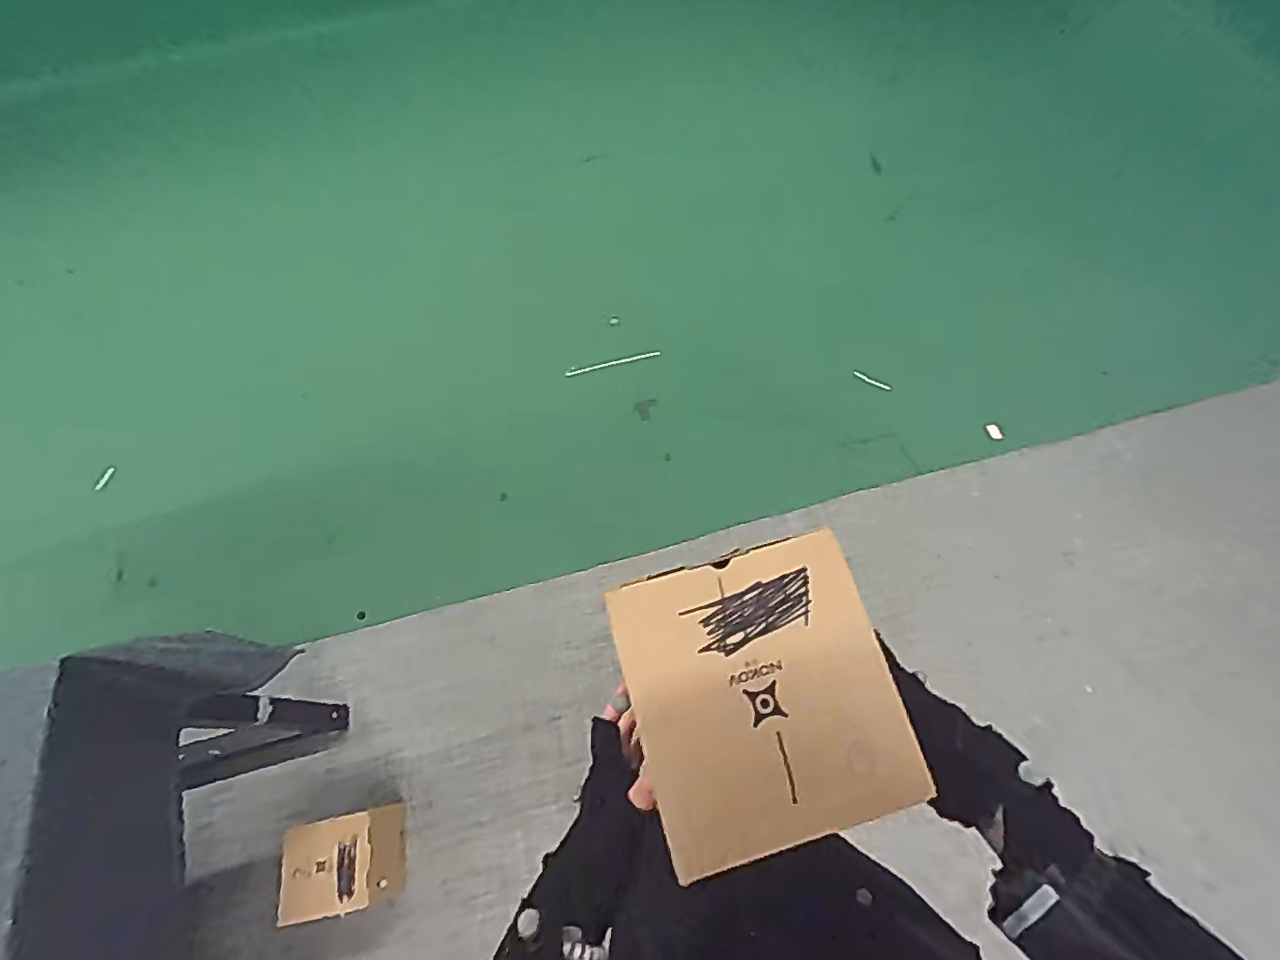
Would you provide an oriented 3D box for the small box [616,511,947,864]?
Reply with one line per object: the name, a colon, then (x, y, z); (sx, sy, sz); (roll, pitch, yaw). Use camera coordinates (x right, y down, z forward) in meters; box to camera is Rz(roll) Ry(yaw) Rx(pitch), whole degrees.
small box: (0.080, 0.144, 0.412); (0.168, 0.176, 0.179); (-15, 73, -6)
